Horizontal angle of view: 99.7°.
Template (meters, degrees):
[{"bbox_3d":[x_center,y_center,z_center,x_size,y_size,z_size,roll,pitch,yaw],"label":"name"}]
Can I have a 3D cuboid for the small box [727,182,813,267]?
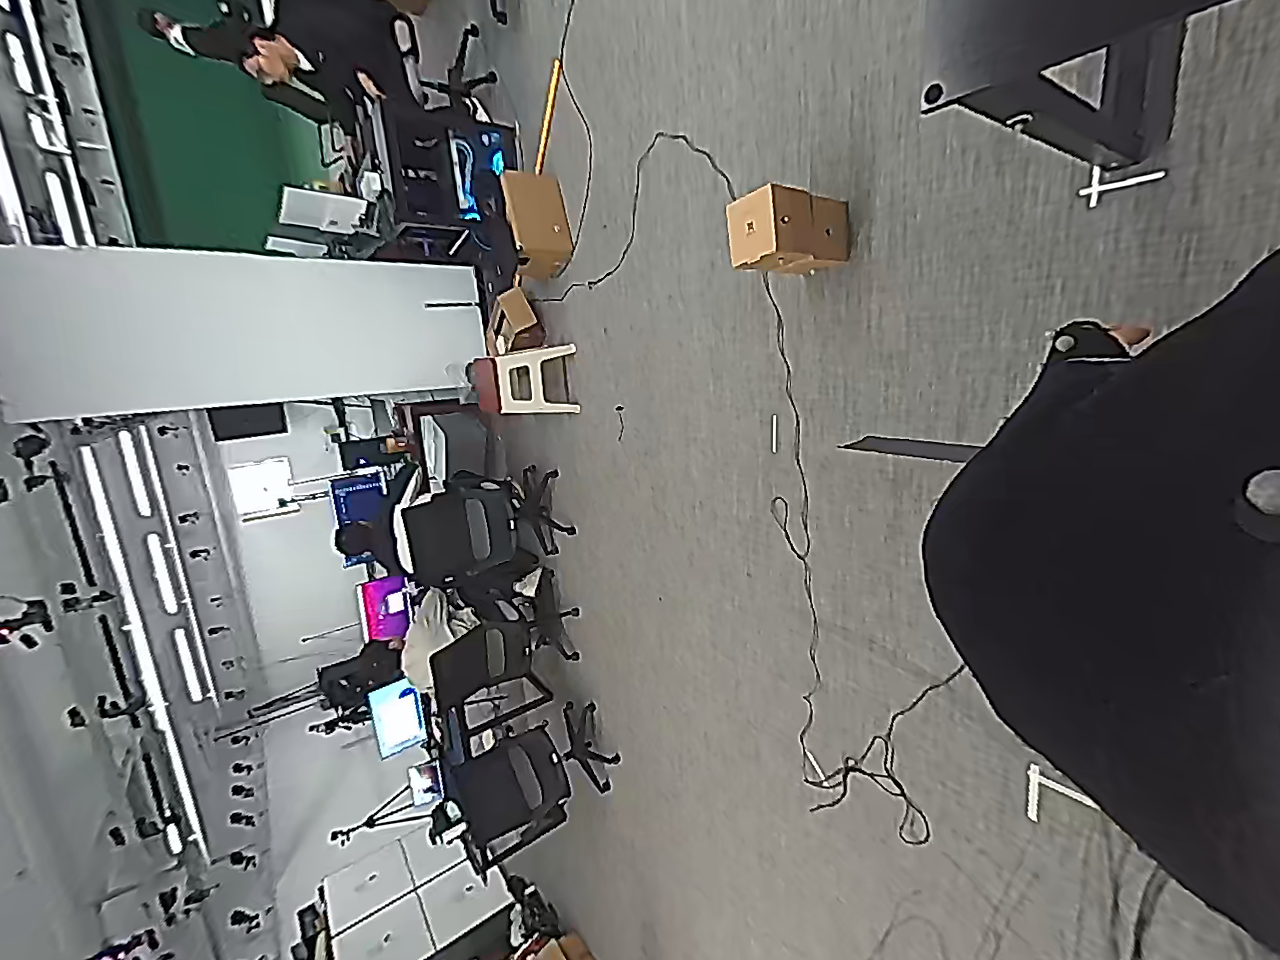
[{"bbox_3d":[0.370,-0.712,1.528,0.168,0.176,0.179,3,102,54],"label":"small box"}]

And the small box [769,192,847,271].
[{"bbox_3d":[0.503,-0.735,1.620,0.168,0.176,0.179,9,108,54],"label":"small box"}]
